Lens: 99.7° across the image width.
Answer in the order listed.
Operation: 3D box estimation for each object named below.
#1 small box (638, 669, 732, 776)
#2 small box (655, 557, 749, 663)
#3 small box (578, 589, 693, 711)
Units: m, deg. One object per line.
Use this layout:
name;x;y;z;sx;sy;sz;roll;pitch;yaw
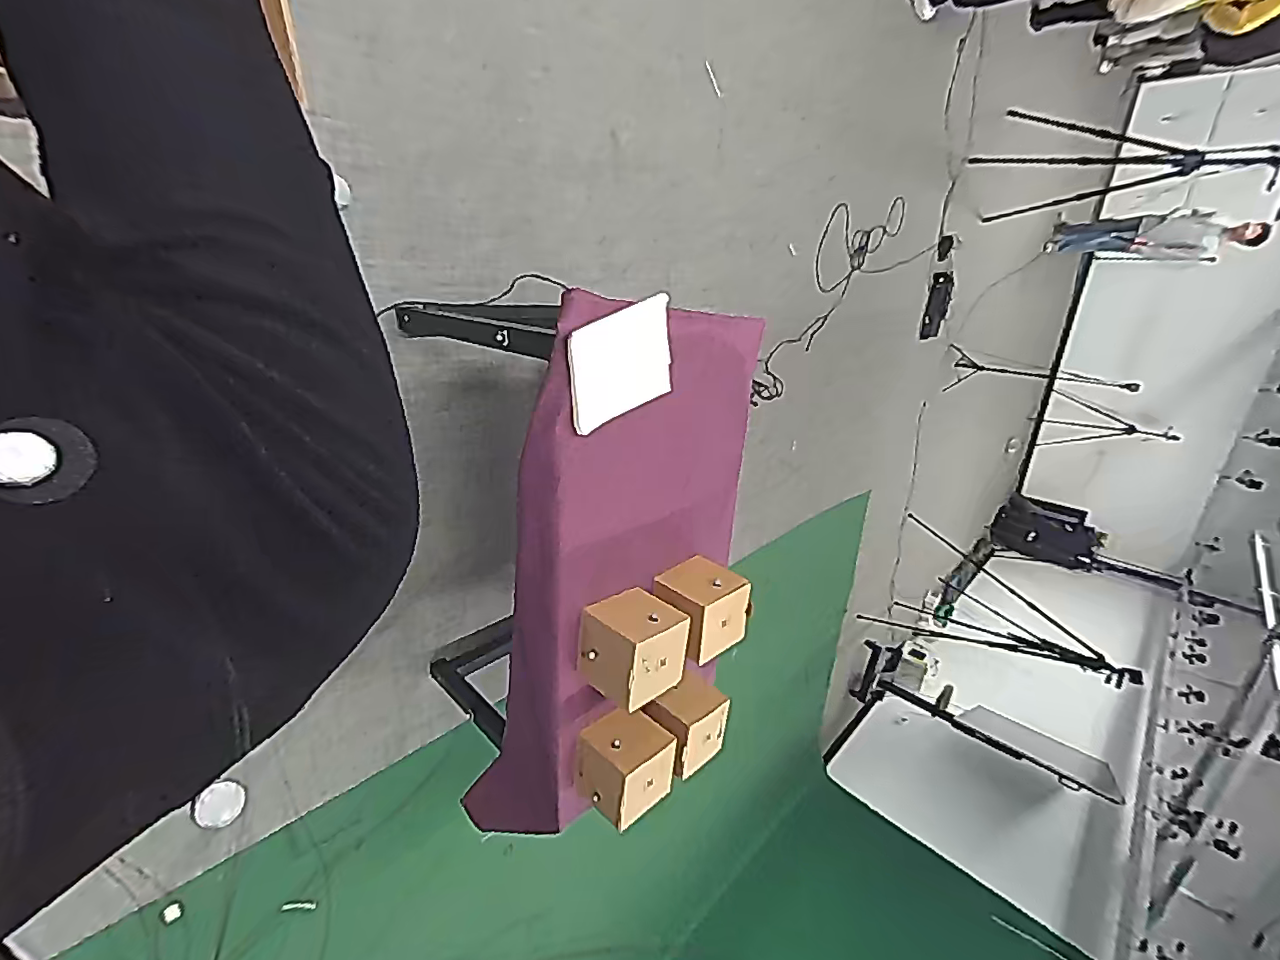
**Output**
small box;0.116;0.639;1.446;0.179;0.176;0.168;-8;112;-45
small box;0.147;0.315;1.347;0.179;0.176;0.168;-18;119;-43
small box;-0.012;0.361;1.189;0.179;0.176;0.168;-11;113;-45
